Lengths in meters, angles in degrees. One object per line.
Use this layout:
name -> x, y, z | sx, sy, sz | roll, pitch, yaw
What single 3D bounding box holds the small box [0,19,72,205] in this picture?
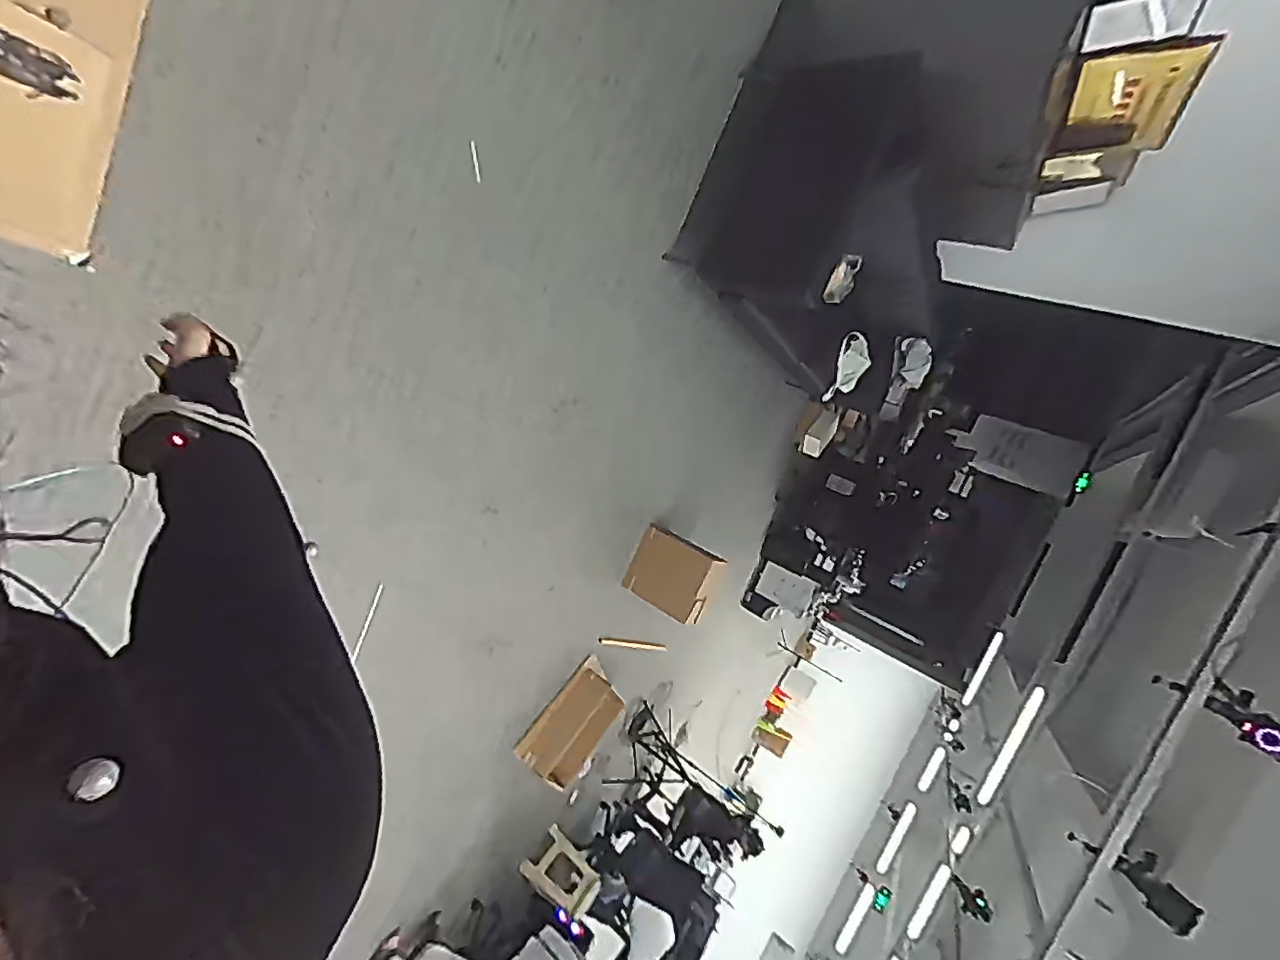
small box -> -0.738, -0.414, 0.551 | 0.179, 0.176, 0.168 | 8, 106, -58
